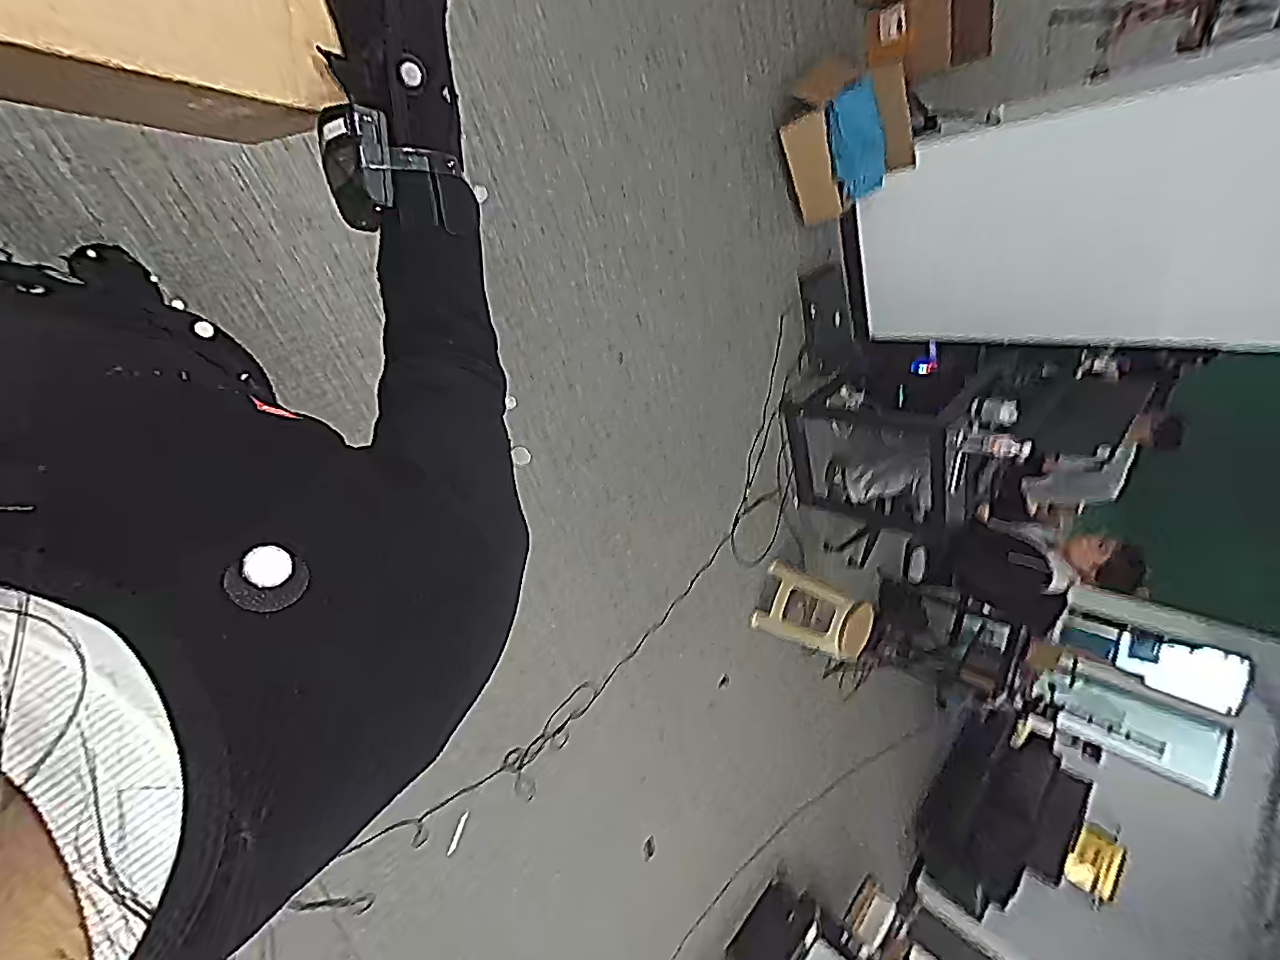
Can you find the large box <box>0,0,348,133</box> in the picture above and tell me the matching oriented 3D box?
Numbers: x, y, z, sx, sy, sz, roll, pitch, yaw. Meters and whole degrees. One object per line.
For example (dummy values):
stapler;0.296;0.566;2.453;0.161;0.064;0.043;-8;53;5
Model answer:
large box;-0.436;-0.405;0.281;0.408;0.320;0.320;-17;123;-42
